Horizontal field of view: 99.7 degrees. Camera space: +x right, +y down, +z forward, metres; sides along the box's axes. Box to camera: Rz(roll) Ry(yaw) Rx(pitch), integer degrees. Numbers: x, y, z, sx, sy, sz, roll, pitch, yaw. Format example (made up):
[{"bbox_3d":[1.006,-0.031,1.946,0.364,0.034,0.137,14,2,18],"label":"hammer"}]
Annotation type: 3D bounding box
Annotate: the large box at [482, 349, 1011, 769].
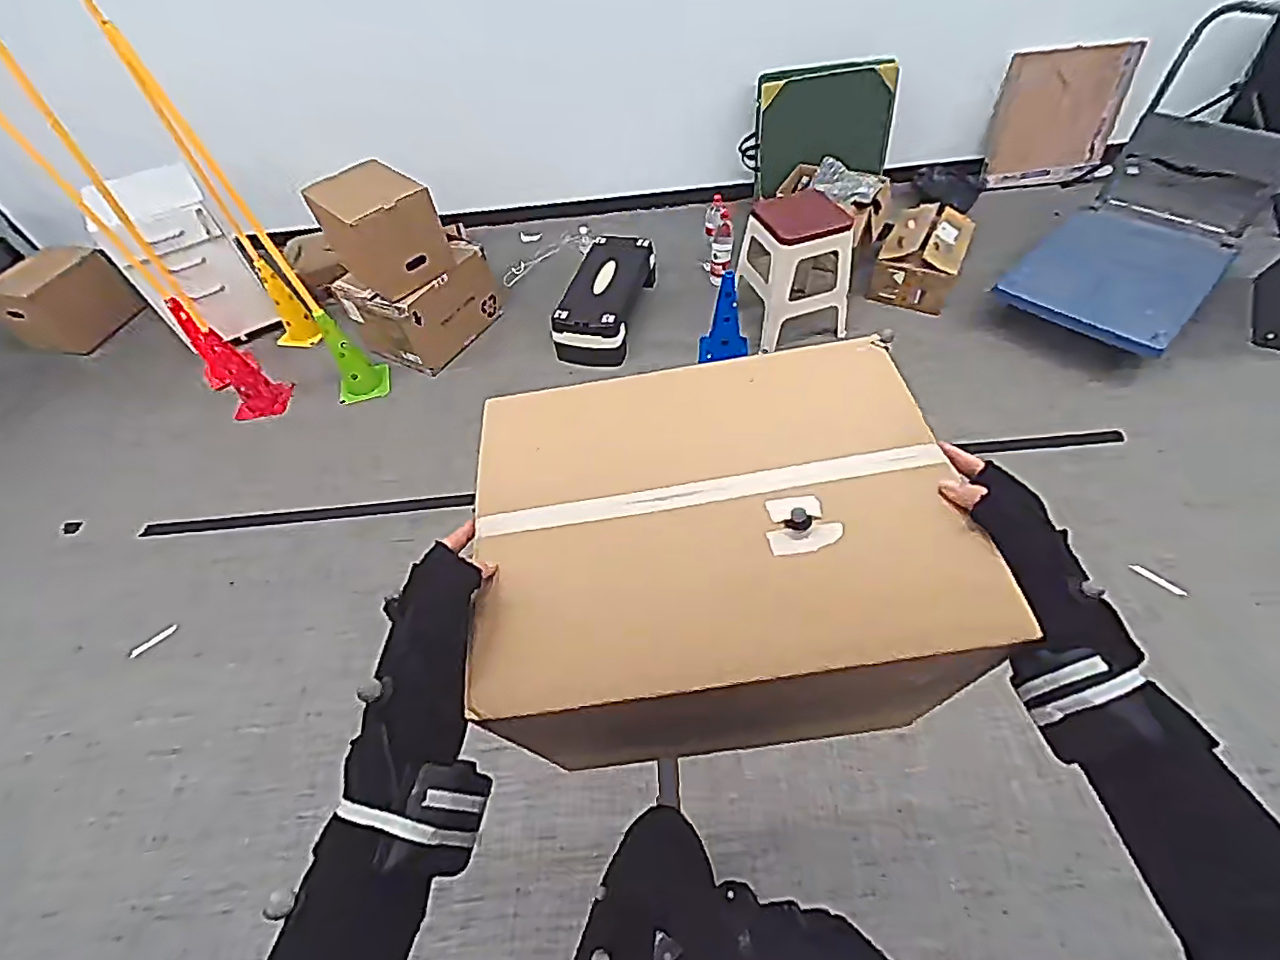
[{"bbox_3d":[0.074,0.102,0.601,0.408,0.320,0.320,-9,55,2],"label":"large box"}]
